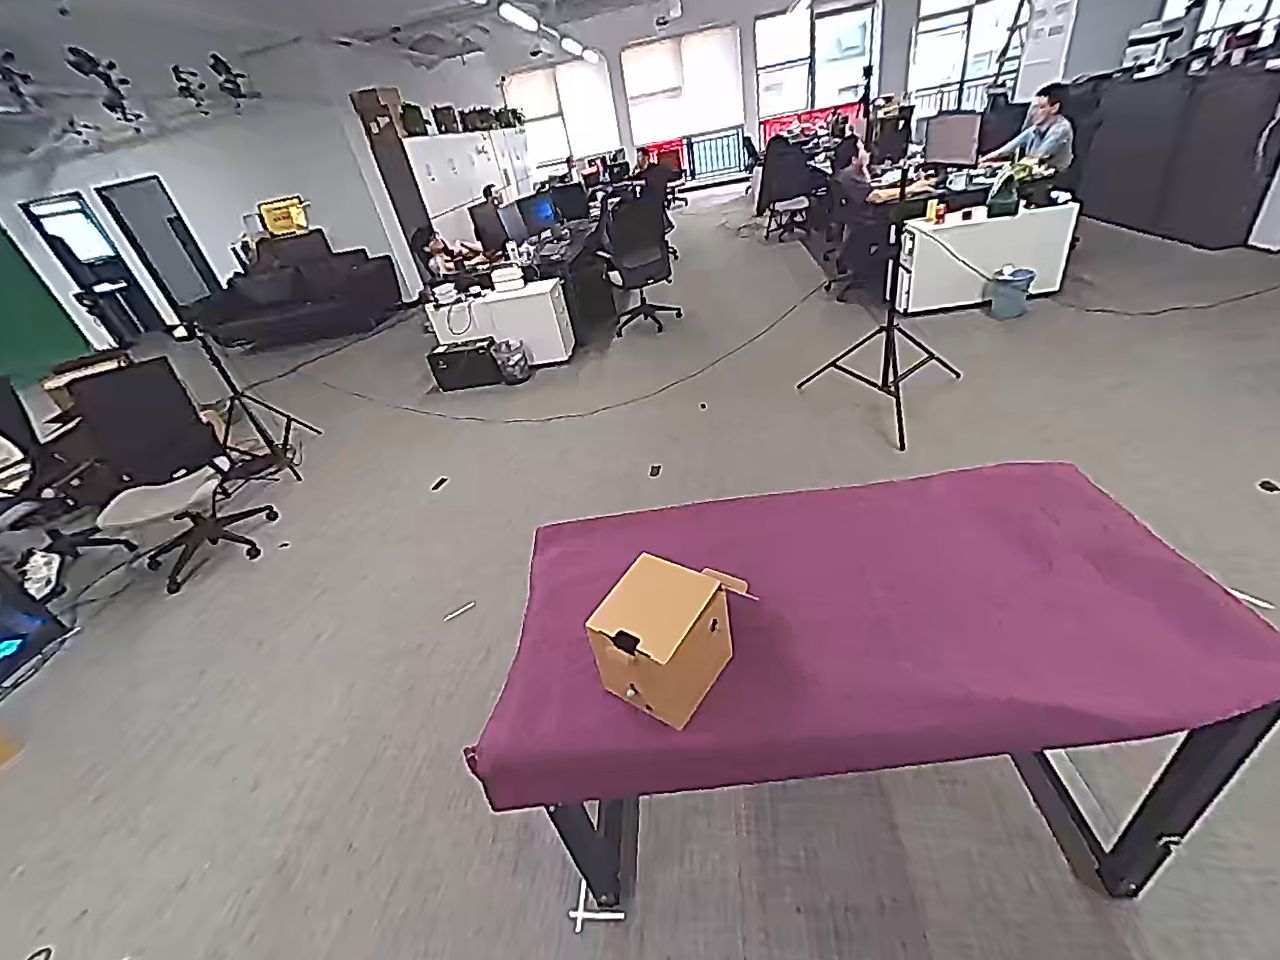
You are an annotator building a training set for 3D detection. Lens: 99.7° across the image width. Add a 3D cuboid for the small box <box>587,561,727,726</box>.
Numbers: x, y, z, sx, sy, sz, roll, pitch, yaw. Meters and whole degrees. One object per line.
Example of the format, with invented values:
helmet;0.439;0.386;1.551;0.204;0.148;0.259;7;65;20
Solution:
small box;0.037;0.275;0.928;0.168;0.176;0.179;14;41;36
